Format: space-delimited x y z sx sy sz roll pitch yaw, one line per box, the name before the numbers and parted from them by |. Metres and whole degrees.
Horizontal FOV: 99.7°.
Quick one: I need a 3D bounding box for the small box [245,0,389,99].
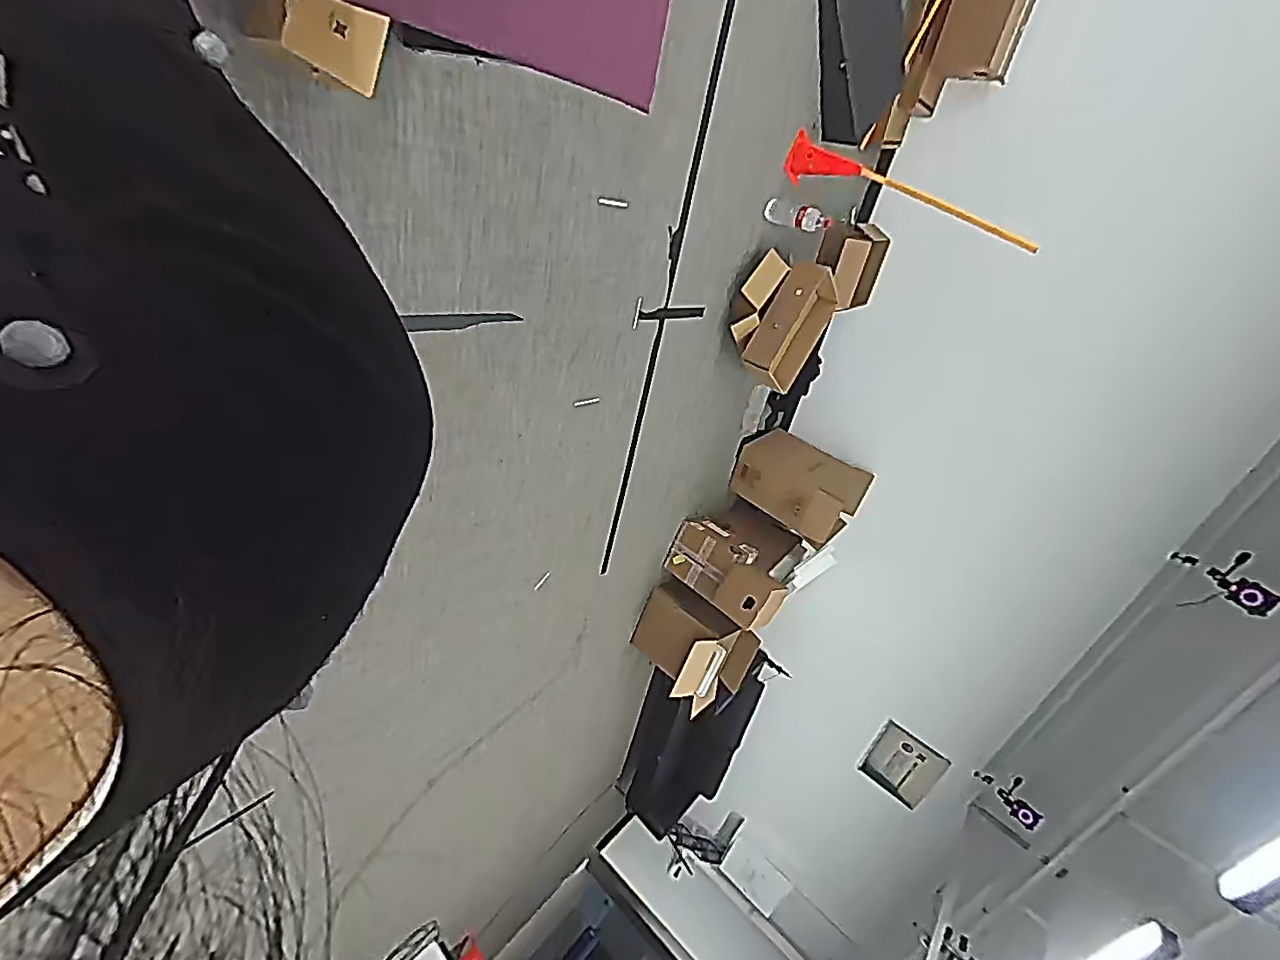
small box | -0.642 -0.903 1.073 0.179 0.176 0.168 0 118 -56
